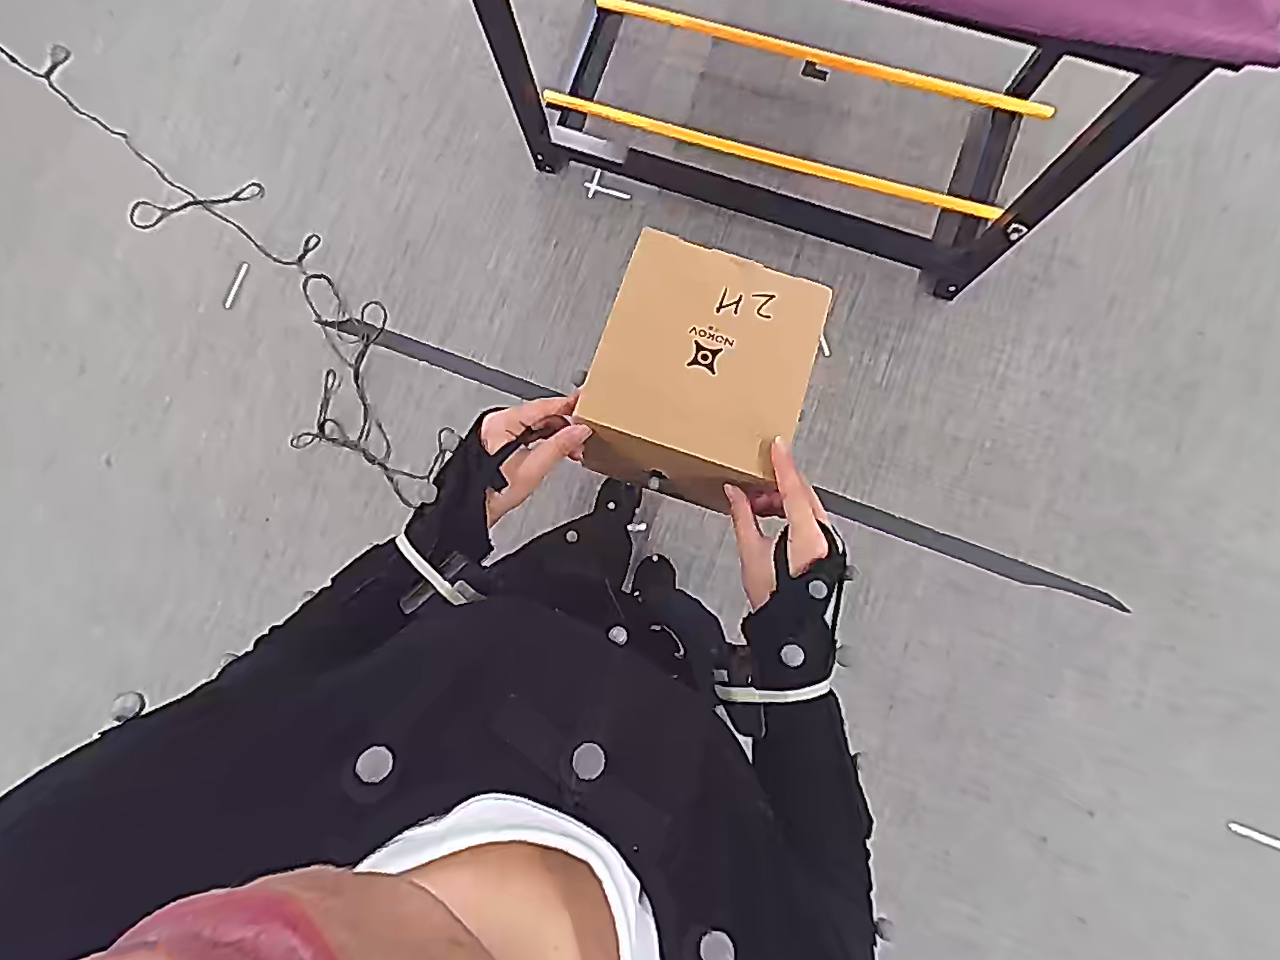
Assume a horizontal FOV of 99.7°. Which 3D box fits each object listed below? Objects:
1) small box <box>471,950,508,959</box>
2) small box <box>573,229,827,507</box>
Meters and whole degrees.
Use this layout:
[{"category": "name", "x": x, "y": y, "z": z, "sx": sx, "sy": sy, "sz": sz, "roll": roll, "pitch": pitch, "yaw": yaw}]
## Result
[{"category": "small box", "x": -0.354, "y": 1.237, "z": 1.235, "sx": 0.179, "sy": 0.176, "sz": 0.168, "roll": 18, "pitch": 85, "yaw": 4}, {"category": "small box", "x": 0.047, "y": -0.086, "z": 0.506, "sx": 0.168, "sy": 0.176, "sz": 0.179, "roll": 19, "pitch": 77, "yaw": -1}]
